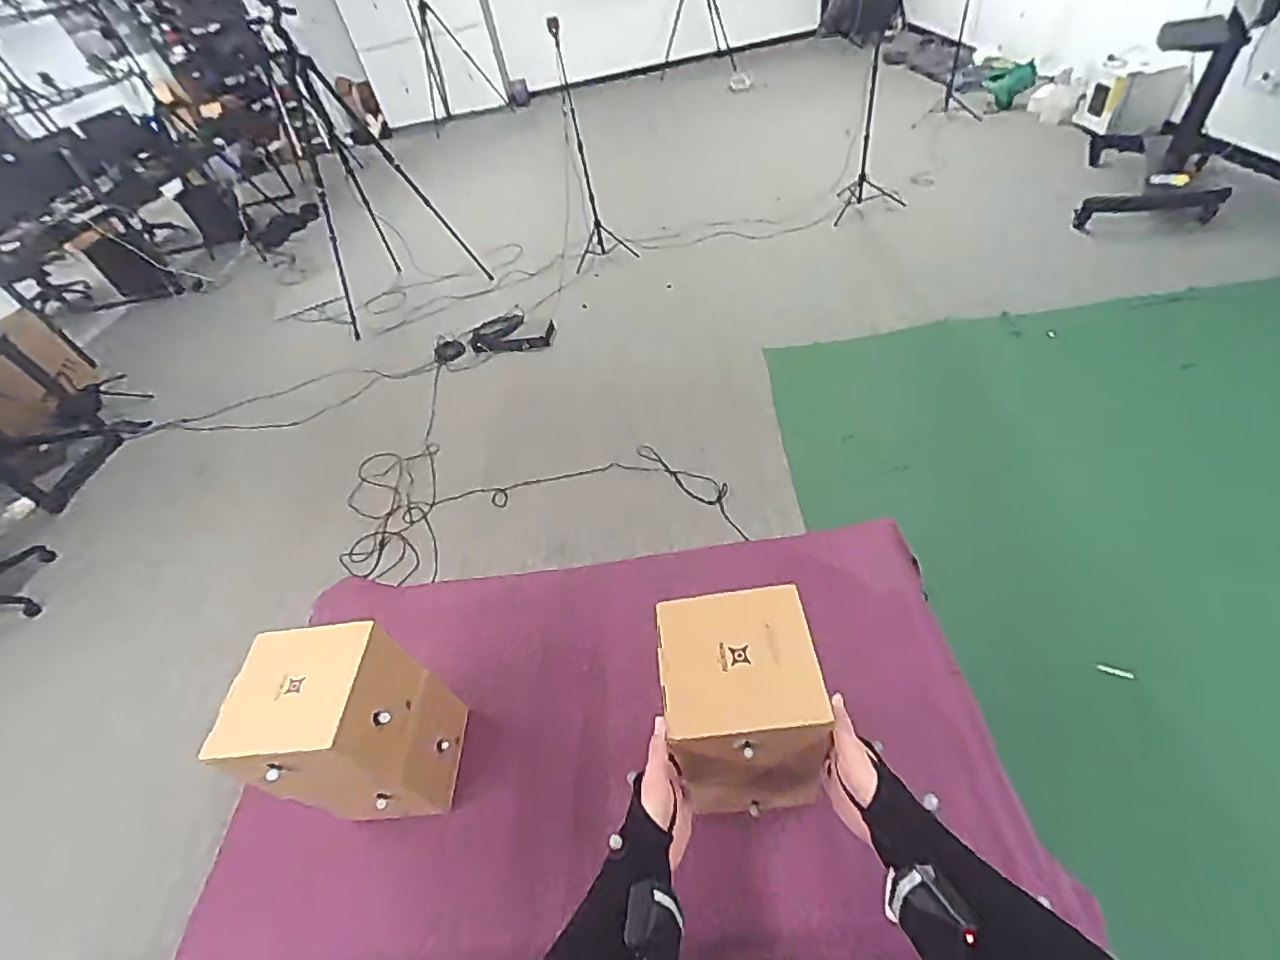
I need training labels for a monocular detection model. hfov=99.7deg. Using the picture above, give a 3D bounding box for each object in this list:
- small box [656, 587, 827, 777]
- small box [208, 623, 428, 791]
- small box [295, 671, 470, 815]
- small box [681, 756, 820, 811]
[{"bbox_3d":[0.122,0.257,0.675,0.179,0.176,0.168,-9,47,6],"label":"small box"},{"bbox_3d":[-0.425,0.318,0.753,0.179,0.176,0.168,-8,47,7],"label":"small box"},{"bbox_3d":[-0.397,0.426,0.871,0.179,0.176,0.168,-8,46,6],"label":"small box"},{"bbox_3d":[0.149,0.369,0.792,0.179,0.176,0.168,-9,46,5],"label":"small box"}]
